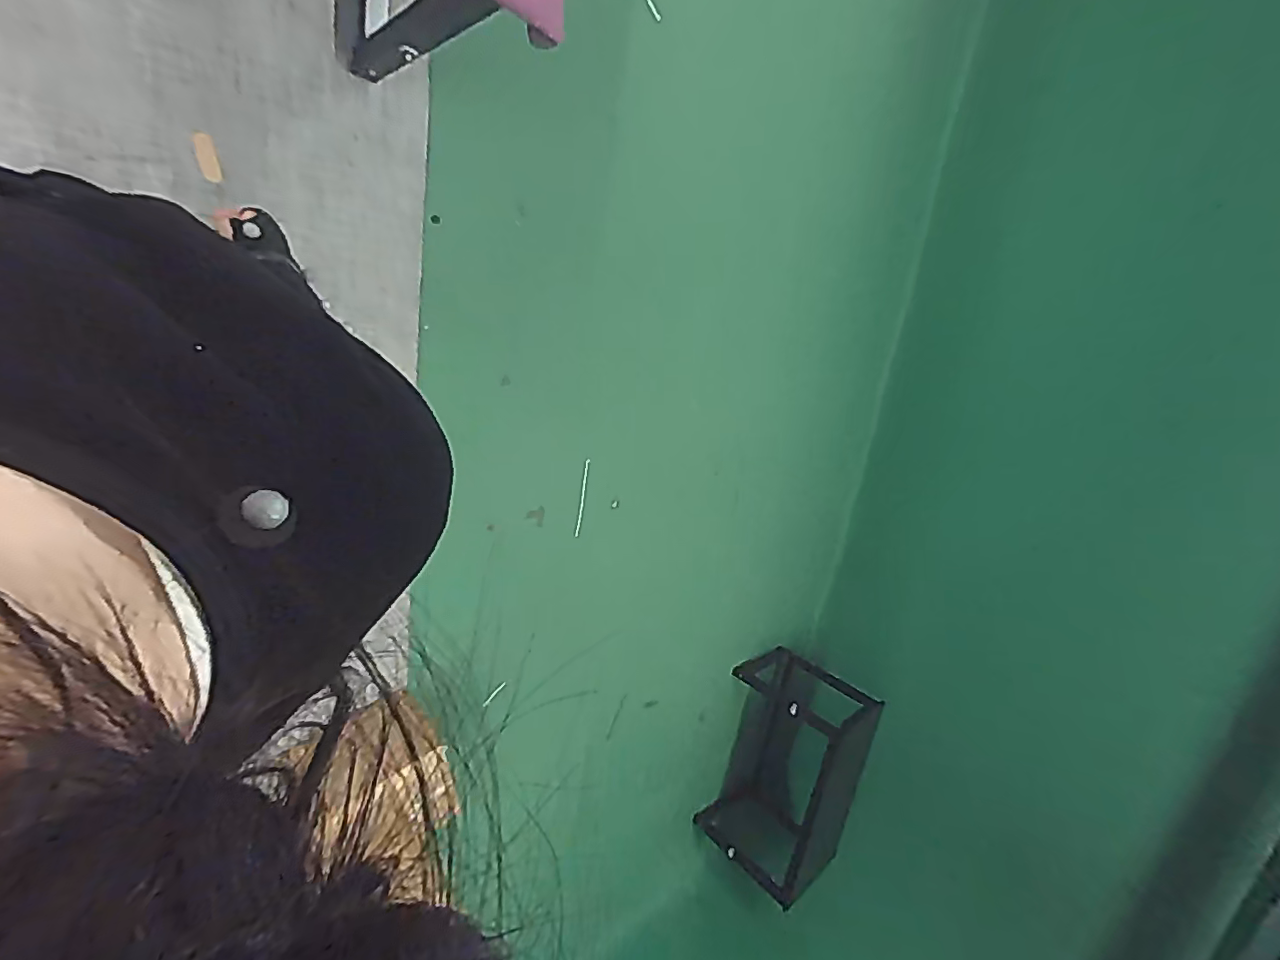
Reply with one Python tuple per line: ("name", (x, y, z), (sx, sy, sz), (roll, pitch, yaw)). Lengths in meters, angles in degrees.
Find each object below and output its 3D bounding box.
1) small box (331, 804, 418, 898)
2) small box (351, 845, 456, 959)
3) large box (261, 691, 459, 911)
("small box", (-0.685, 0.996, 1.418), (0.168, 0.176, 0.179), (-22, 121, -38))
("small box", (-0.575, 1.046, 1.306), (0.179, 0.176, 0.168), (-24, 122, -38))
("large box", (-0.822, 0.926, 1.613), (0.408, 0.320, 0.320), (-24, 124, -39))
